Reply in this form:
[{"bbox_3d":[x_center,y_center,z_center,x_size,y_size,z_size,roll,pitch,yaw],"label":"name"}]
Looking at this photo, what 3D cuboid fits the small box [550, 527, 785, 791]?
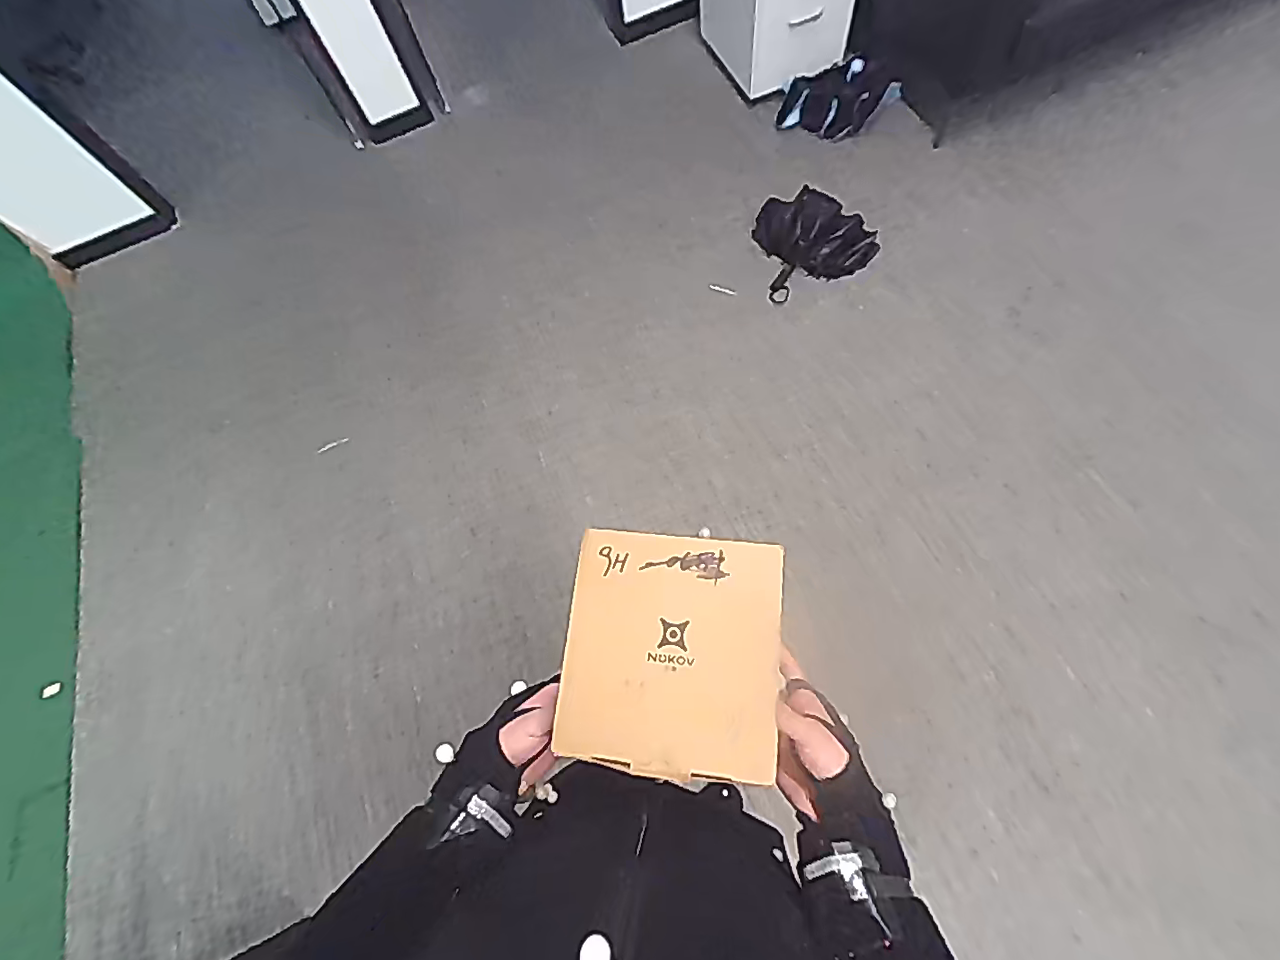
[{"bbox_3d":[0.031,0.153,0.488,0.168,0.176,0.179,5,72,7],"label":"small box"}]
